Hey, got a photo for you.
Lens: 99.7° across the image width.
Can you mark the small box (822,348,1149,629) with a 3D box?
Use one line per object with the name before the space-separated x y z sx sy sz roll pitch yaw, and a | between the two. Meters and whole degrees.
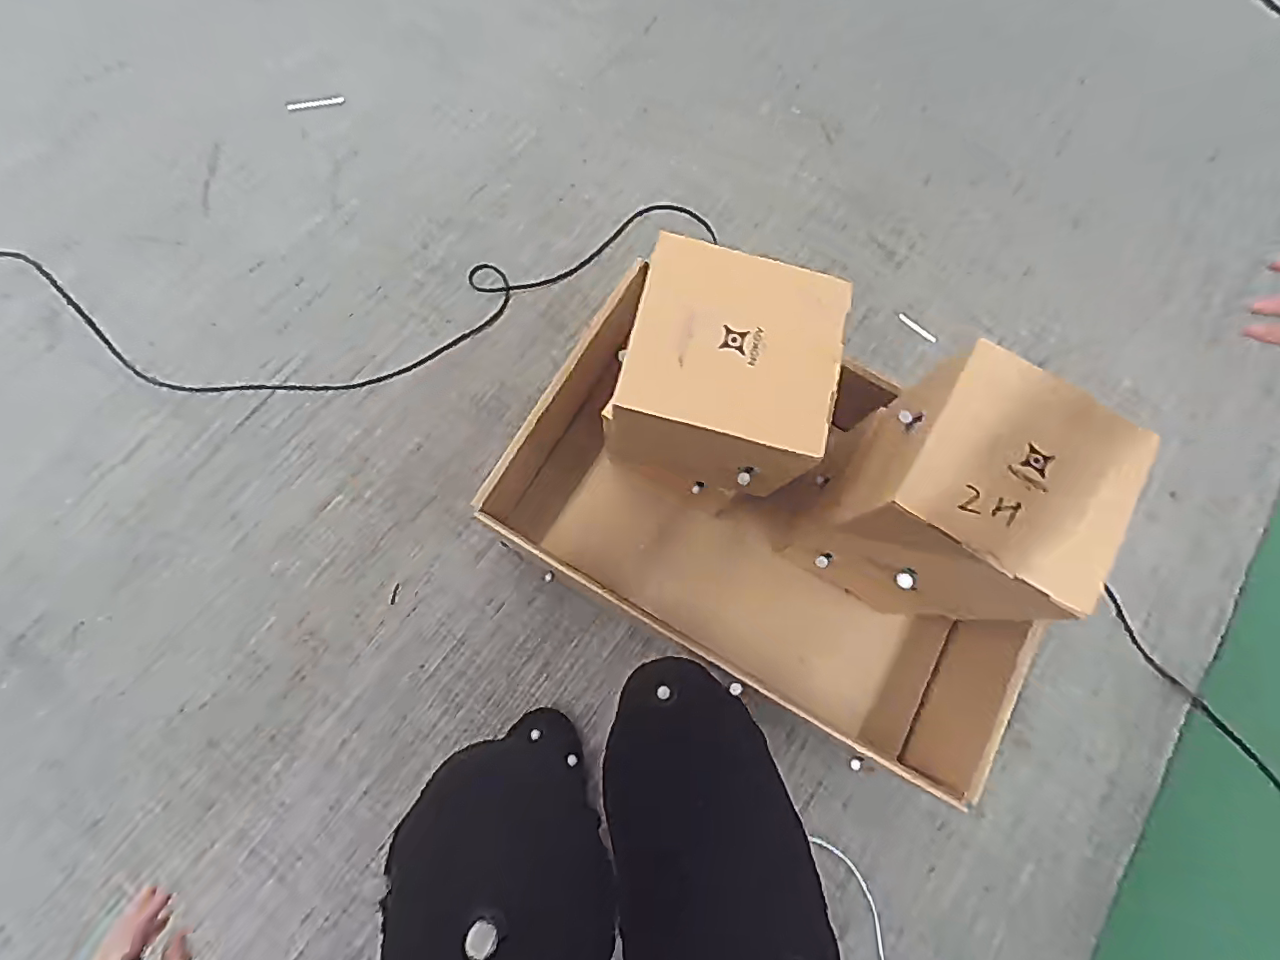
small box | 0.300 0.018 0.507 0.168 0.176 0.179 32 77 6
